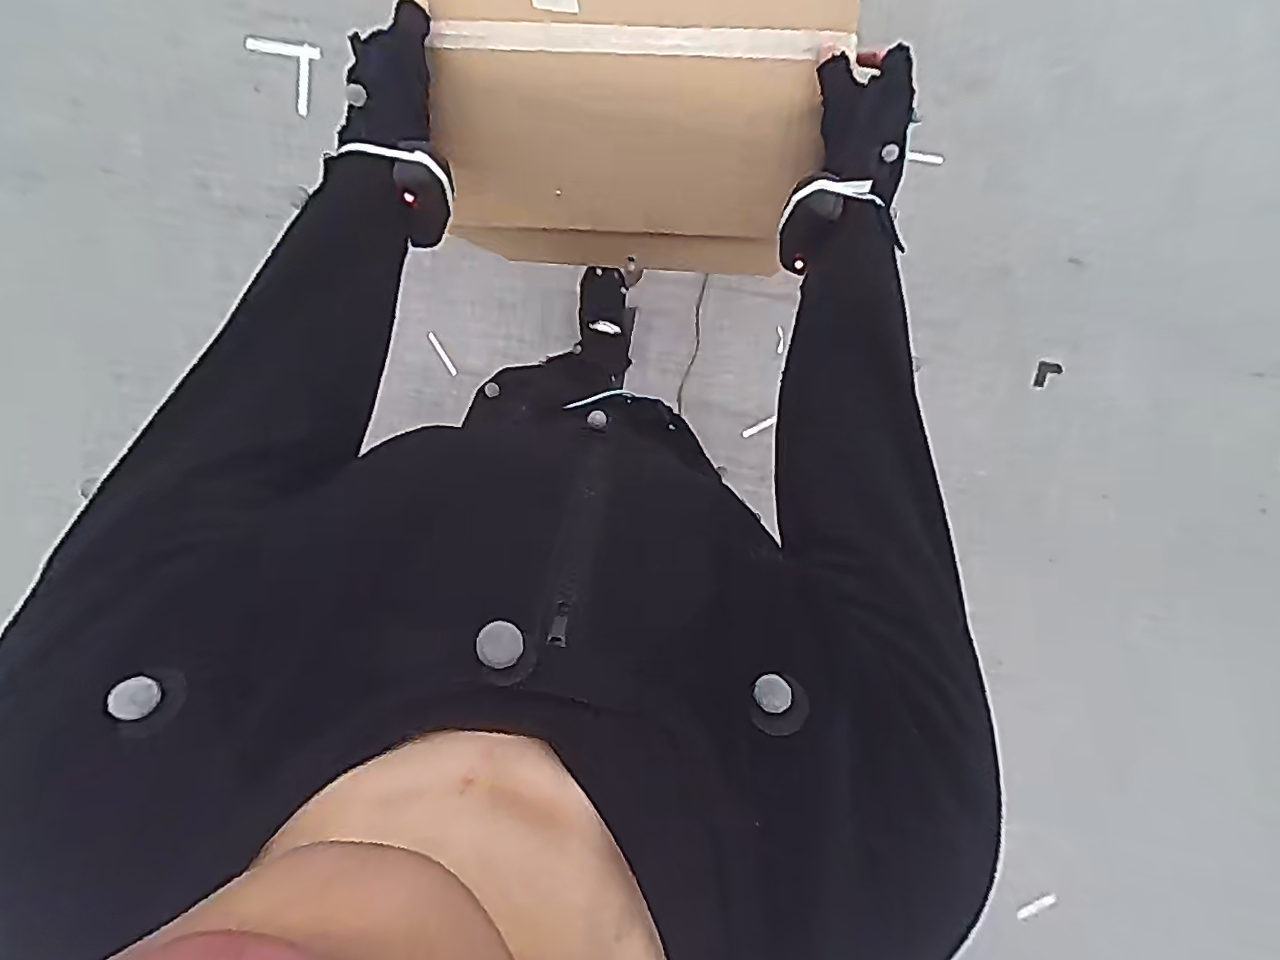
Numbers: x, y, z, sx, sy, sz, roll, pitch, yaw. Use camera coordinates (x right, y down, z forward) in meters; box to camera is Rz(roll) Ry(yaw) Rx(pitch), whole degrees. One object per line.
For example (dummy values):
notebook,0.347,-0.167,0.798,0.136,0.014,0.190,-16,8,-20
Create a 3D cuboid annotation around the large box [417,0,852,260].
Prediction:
large box,0.001,-0.445,0.639,0.408,0.320,0.320,4,105,3
